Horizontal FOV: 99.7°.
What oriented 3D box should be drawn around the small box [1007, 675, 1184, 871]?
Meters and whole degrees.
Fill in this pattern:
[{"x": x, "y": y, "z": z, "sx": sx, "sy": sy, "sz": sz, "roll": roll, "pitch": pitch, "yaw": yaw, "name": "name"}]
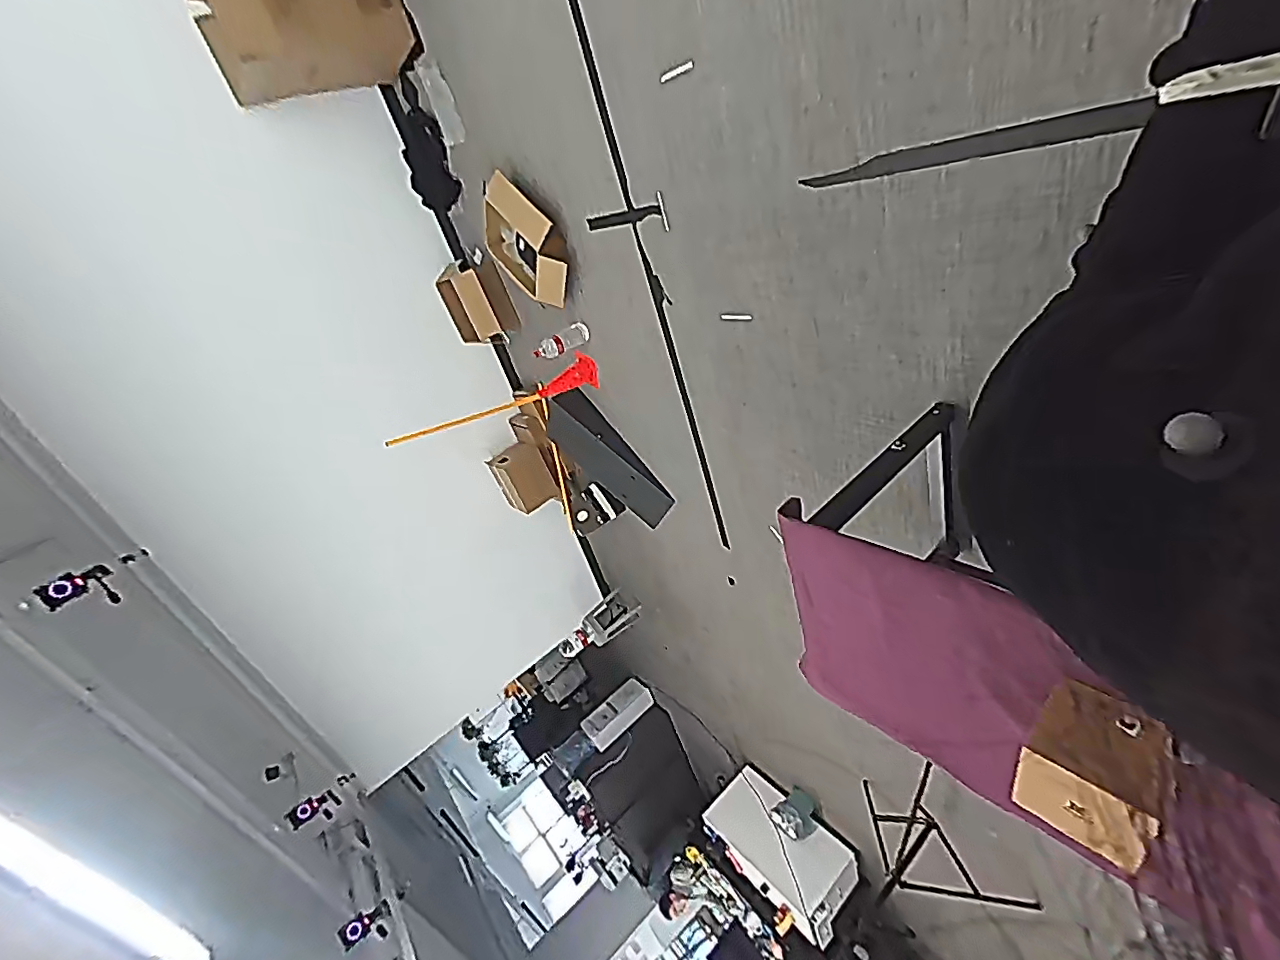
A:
[{"x": 0.717, "y": 0.455, "z": 0.859, "sx": 0.168, "sy": 0.176, "sz": 0.179, "roll": 22, "pitch": 139, "yaw": 46, "name": "small box"}]
